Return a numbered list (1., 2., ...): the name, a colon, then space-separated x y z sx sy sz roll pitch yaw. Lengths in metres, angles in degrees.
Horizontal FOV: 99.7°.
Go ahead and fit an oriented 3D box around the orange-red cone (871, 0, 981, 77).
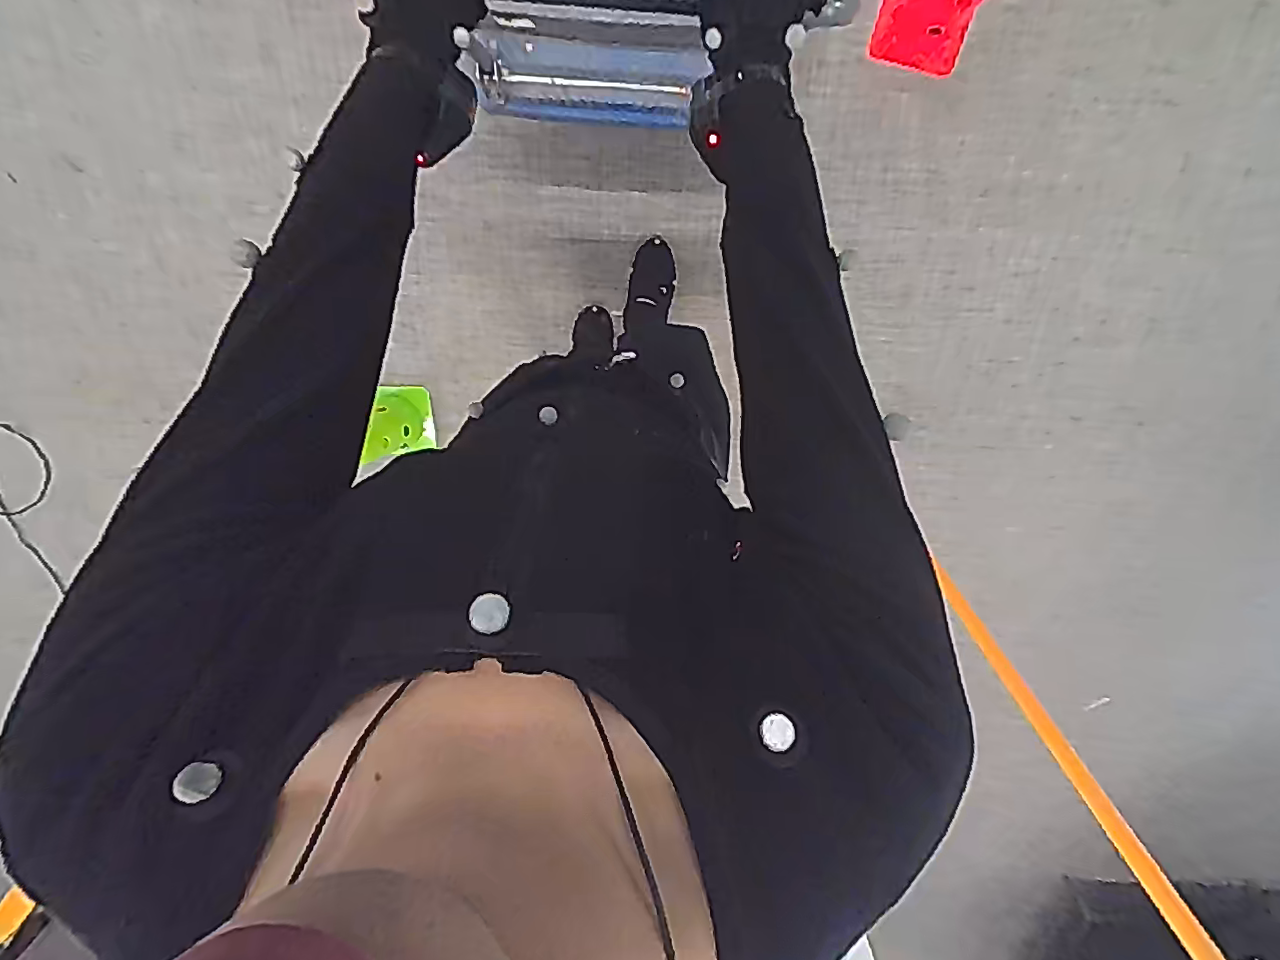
1. orange-red cone: 0.610 -0.923 0.991 0.198 0.360 0.199 12 114 -5
